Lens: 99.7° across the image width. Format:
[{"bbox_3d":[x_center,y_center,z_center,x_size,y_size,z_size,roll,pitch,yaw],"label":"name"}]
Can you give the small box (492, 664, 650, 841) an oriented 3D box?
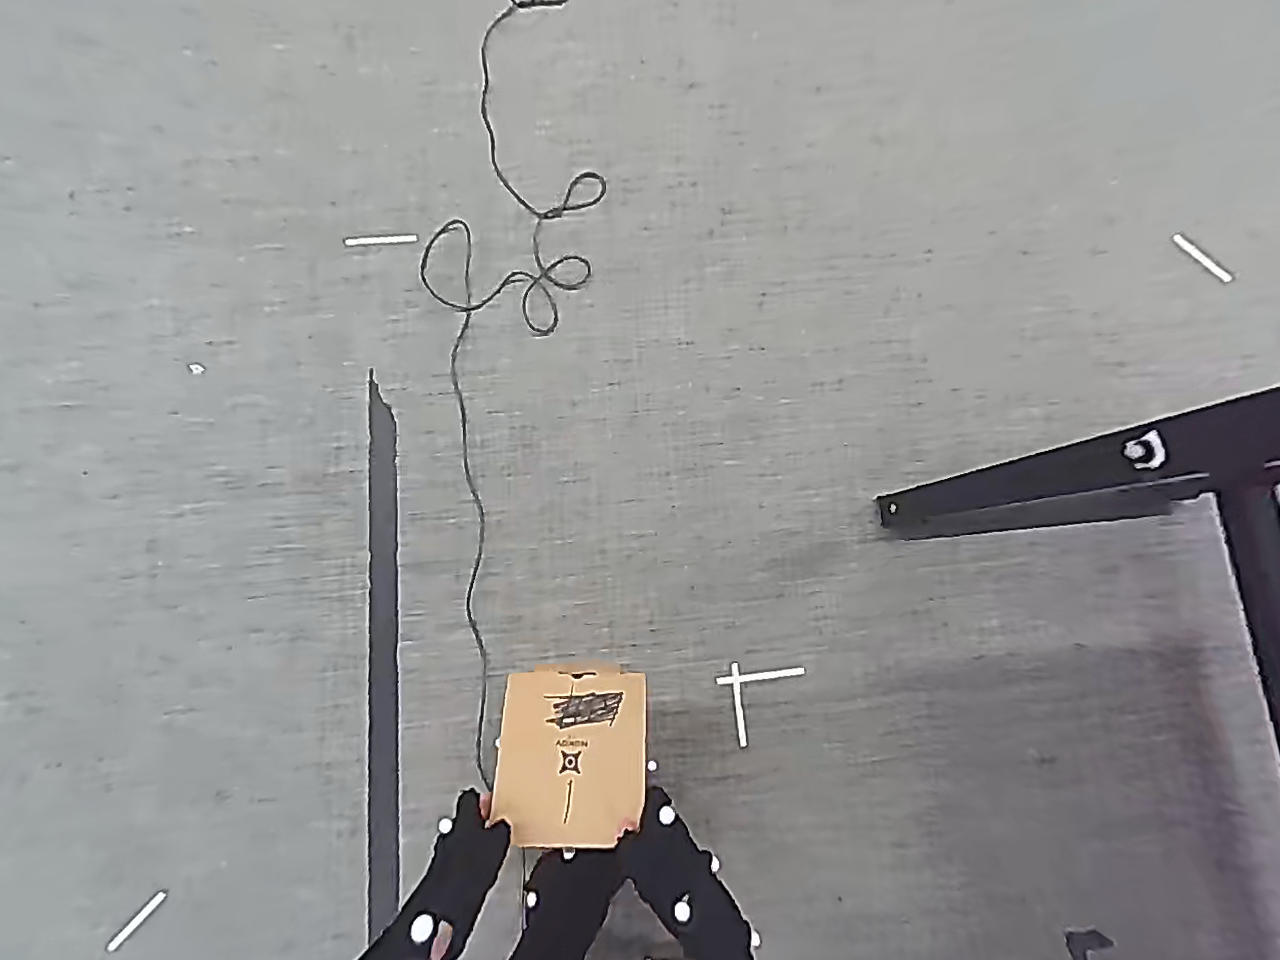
[{"bbox_3d":[-0.073,0.336,0.667,0.168,0.176,0.179,1,60,-1],"label":"small box"}]
